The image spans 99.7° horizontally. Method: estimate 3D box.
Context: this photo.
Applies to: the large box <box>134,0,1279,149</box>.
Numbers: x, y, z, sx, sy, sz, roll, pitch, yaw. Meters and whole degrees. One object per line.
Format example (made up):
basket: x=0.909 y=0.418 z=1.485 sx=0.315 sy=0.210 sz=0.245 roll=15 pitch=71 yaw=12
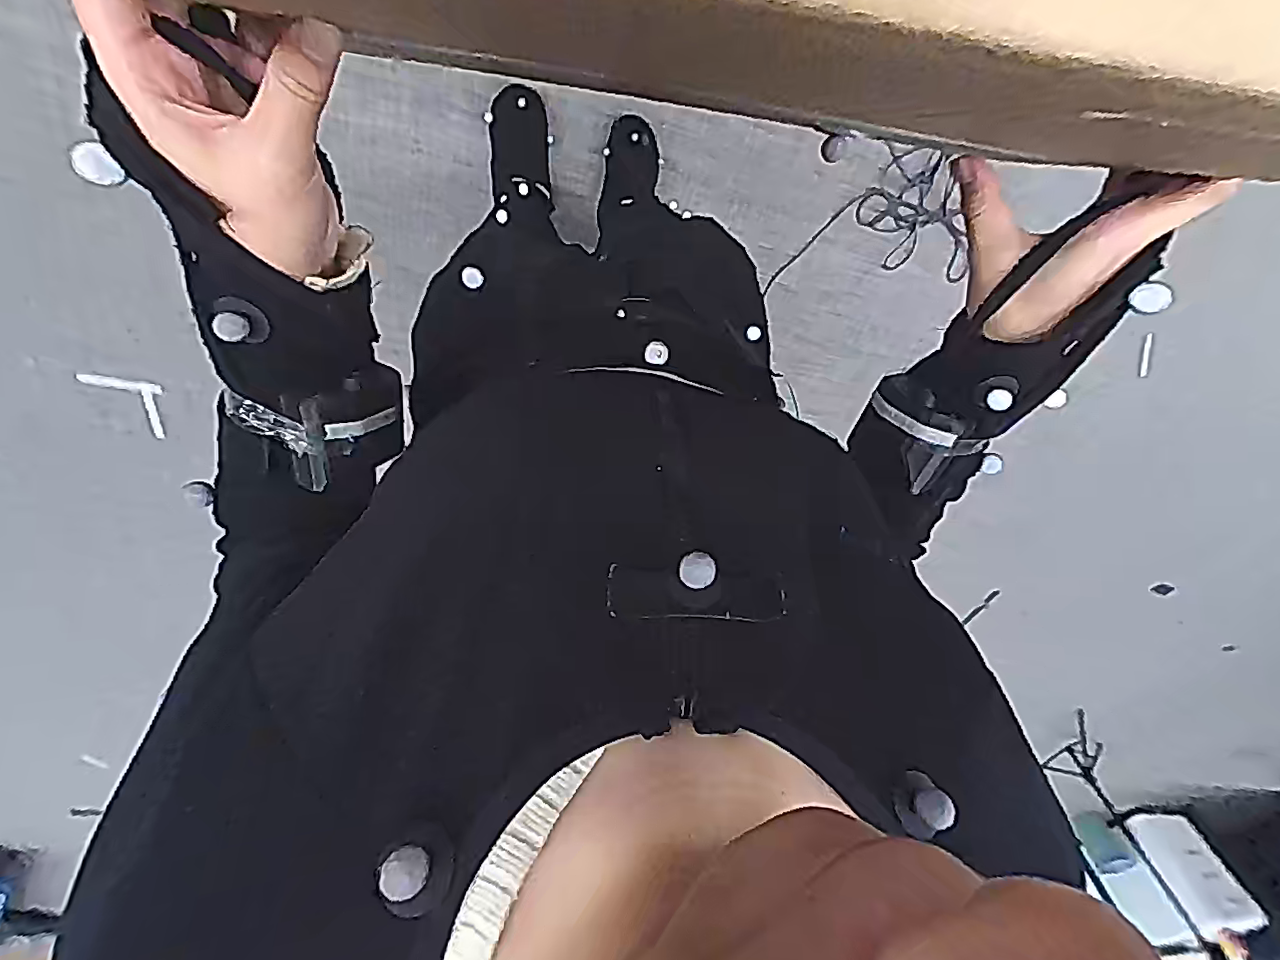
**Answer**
large box: x=0.044 y=-0.292 z=0.137 sx=0.408 sy=0.320 sz=0.320 roll=2 pitch=124 yaw=-6
